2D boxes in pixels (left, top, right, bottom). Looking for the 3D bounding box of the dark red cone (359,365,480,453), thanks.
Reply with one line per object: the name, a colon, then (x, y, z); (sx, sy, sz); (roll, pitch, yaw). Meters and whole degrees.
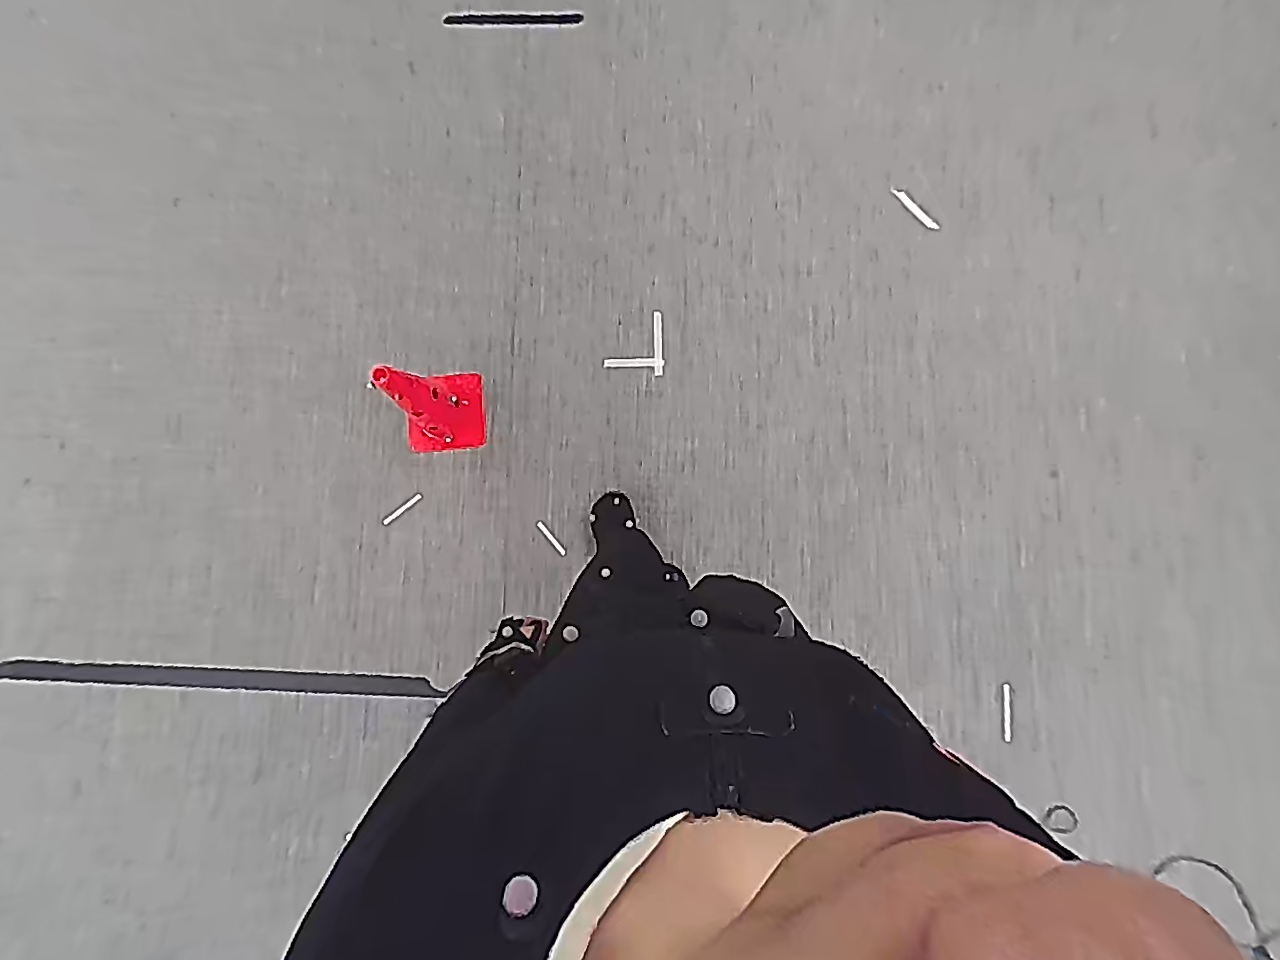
dark red cone: (-0.510, -0.185, 1.204); (0.202, 0.394, 0.201); (-6, 86, 0)
